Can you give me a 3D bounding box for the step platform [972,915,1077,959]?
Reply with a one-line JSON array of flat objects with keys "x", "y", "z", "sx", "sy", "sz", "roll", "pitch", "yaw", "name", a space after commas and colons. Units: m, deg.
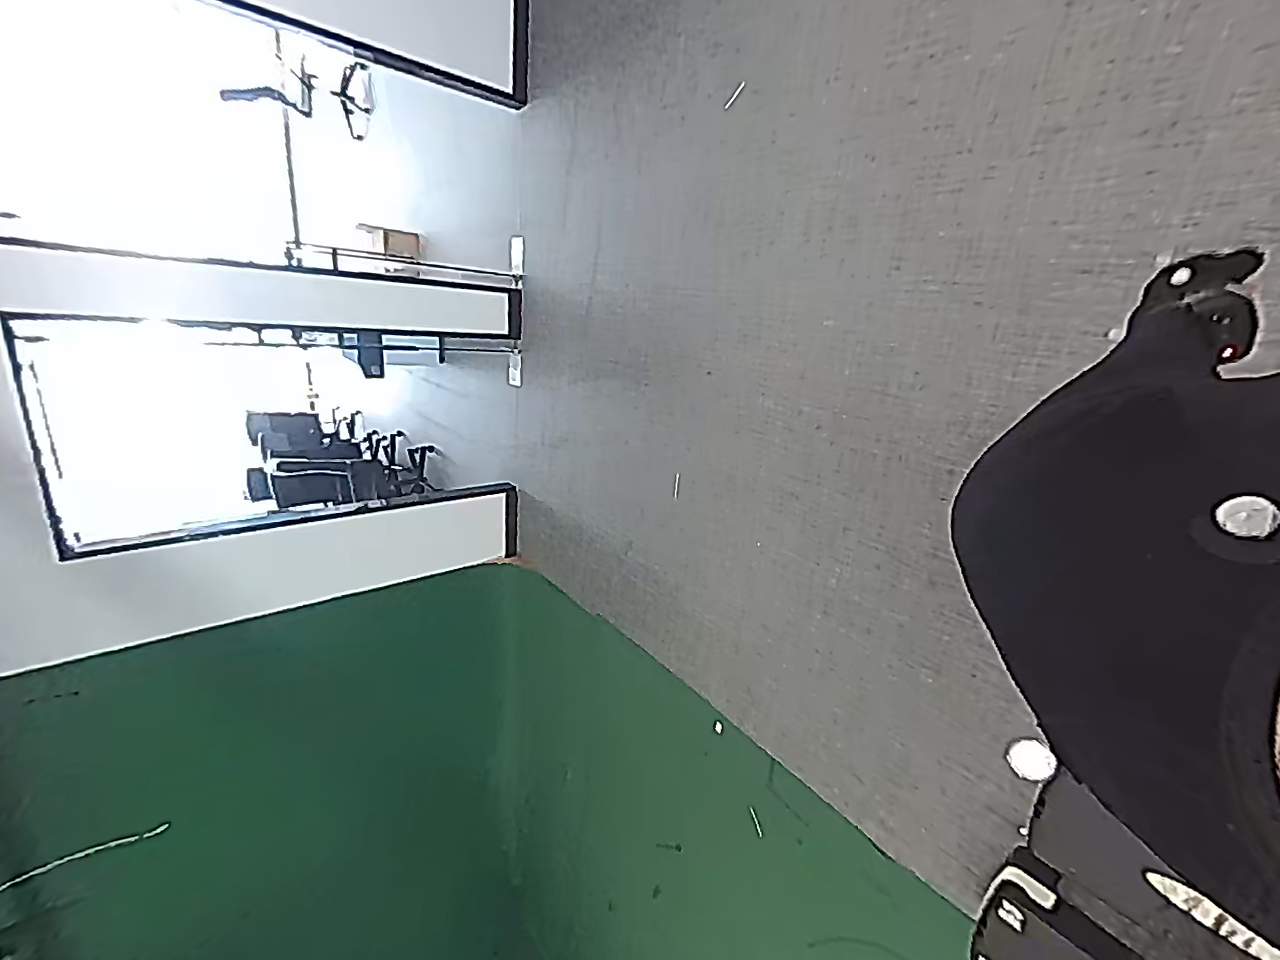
[{"x": 0.996, "y": 1.236, "z": 1.027, "sx": 0.684, "sy": 0.204, "sz": 0.286, "roll": 24, "pitch": 115, "yaw": 45, "name": "step platform"}]
